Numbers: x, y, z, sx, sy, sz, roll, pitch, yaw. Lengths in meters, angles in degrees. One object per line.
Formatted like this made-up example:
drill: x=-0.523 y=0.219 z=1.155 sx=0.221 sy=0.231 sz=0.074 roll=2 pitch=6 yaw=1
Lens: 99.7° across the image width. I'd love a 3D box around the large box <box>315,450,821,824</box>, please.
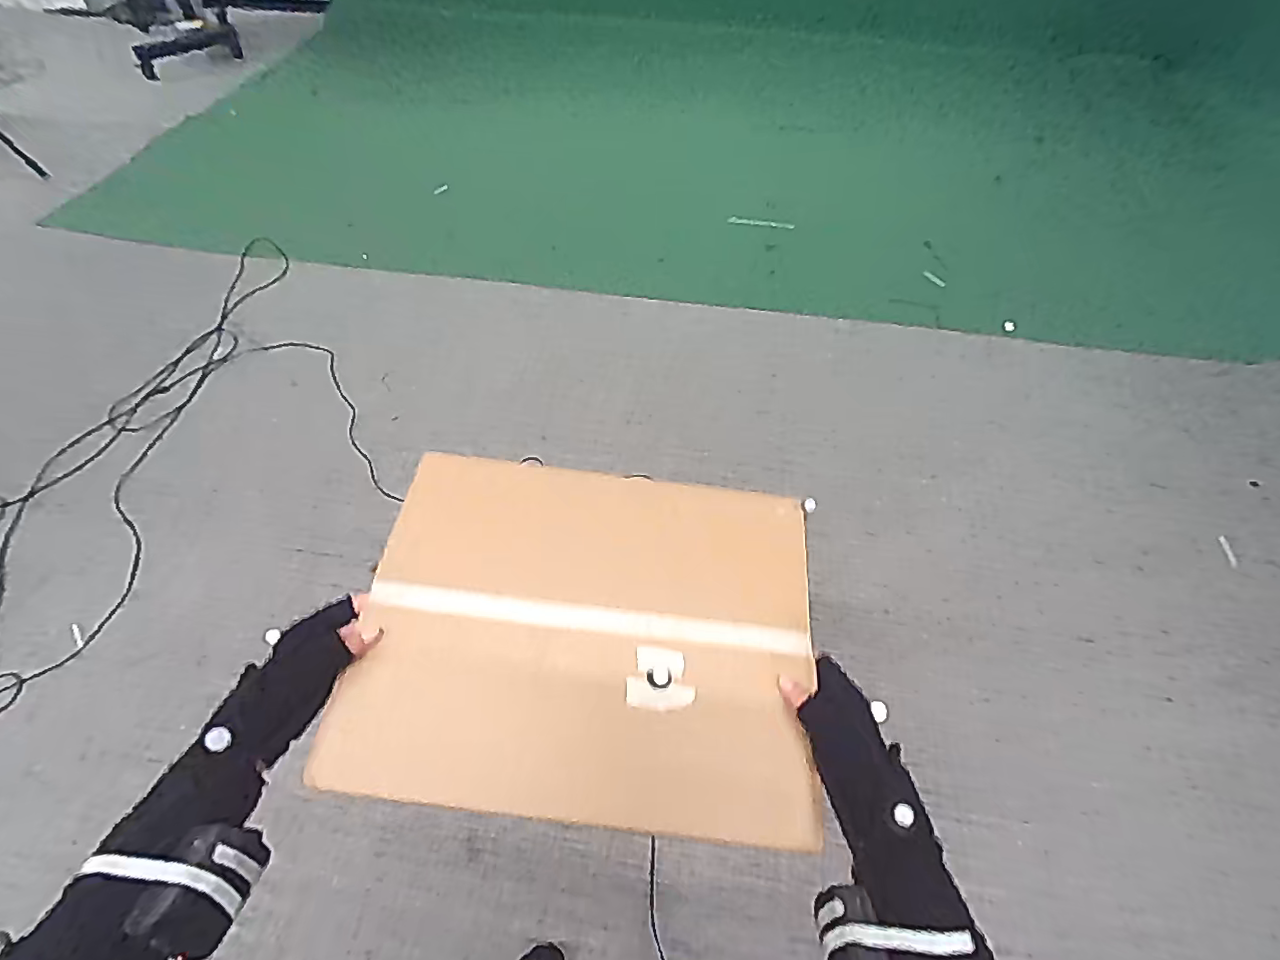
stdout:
large box: x=-0.053 y=0.193 z=0.621 sx=0.408 sy=0.320 sz=0.320 roll=7 pitch=59 yaw=0
